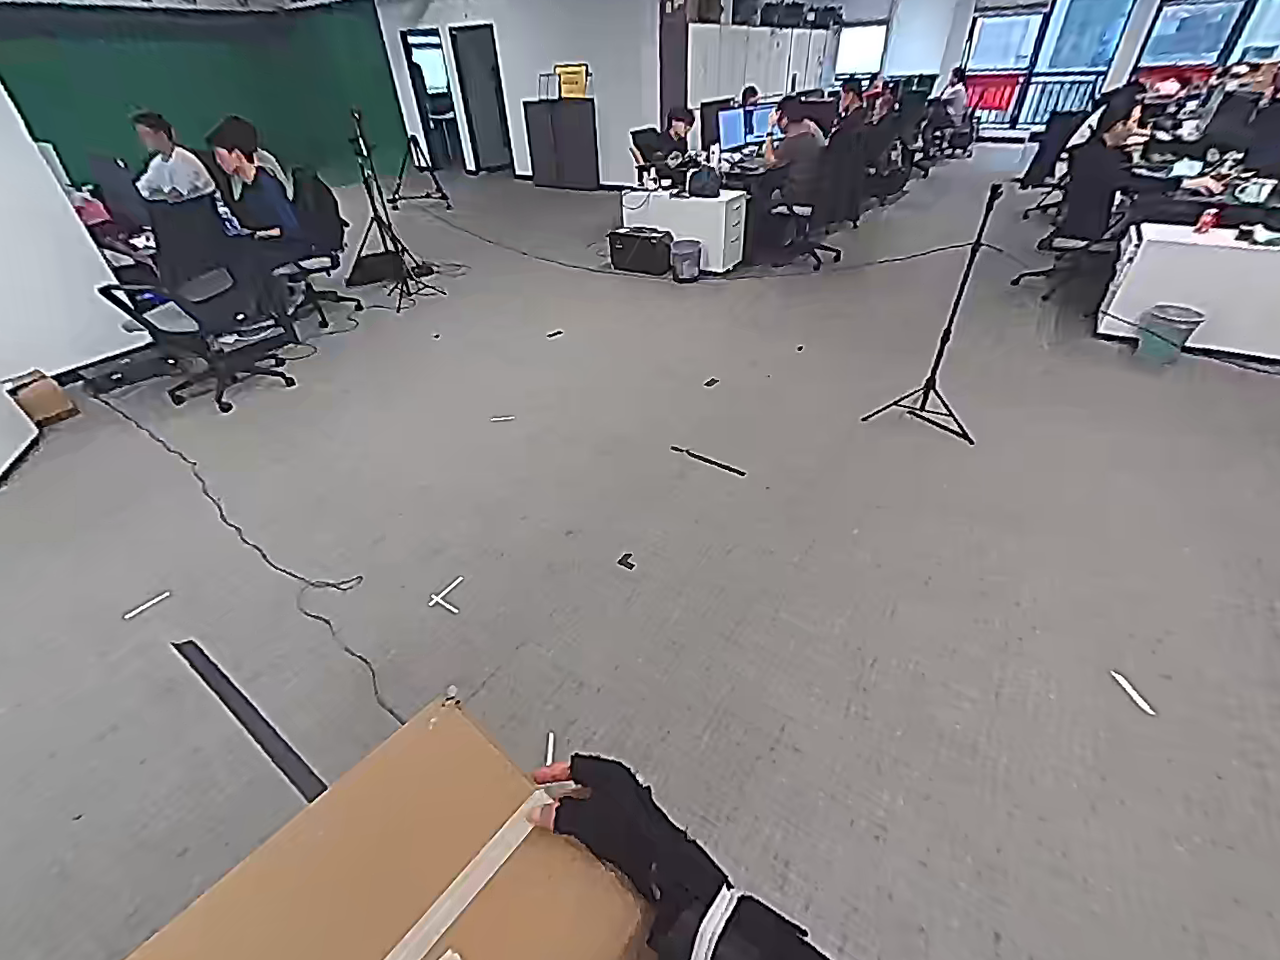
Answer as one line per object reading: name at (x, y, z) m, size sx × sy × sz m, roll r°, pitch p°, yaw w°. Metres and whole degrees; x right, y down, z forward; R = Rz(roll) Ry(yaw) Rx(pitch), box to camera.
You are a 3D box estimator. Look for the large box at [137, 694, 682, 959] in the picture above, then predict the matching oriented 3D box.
large box at (-0.208, 0.497, 0.473) m, size 0.320 × 0.320 × 0.408 m, roll 29°, pitch 46°, yaw 28°
